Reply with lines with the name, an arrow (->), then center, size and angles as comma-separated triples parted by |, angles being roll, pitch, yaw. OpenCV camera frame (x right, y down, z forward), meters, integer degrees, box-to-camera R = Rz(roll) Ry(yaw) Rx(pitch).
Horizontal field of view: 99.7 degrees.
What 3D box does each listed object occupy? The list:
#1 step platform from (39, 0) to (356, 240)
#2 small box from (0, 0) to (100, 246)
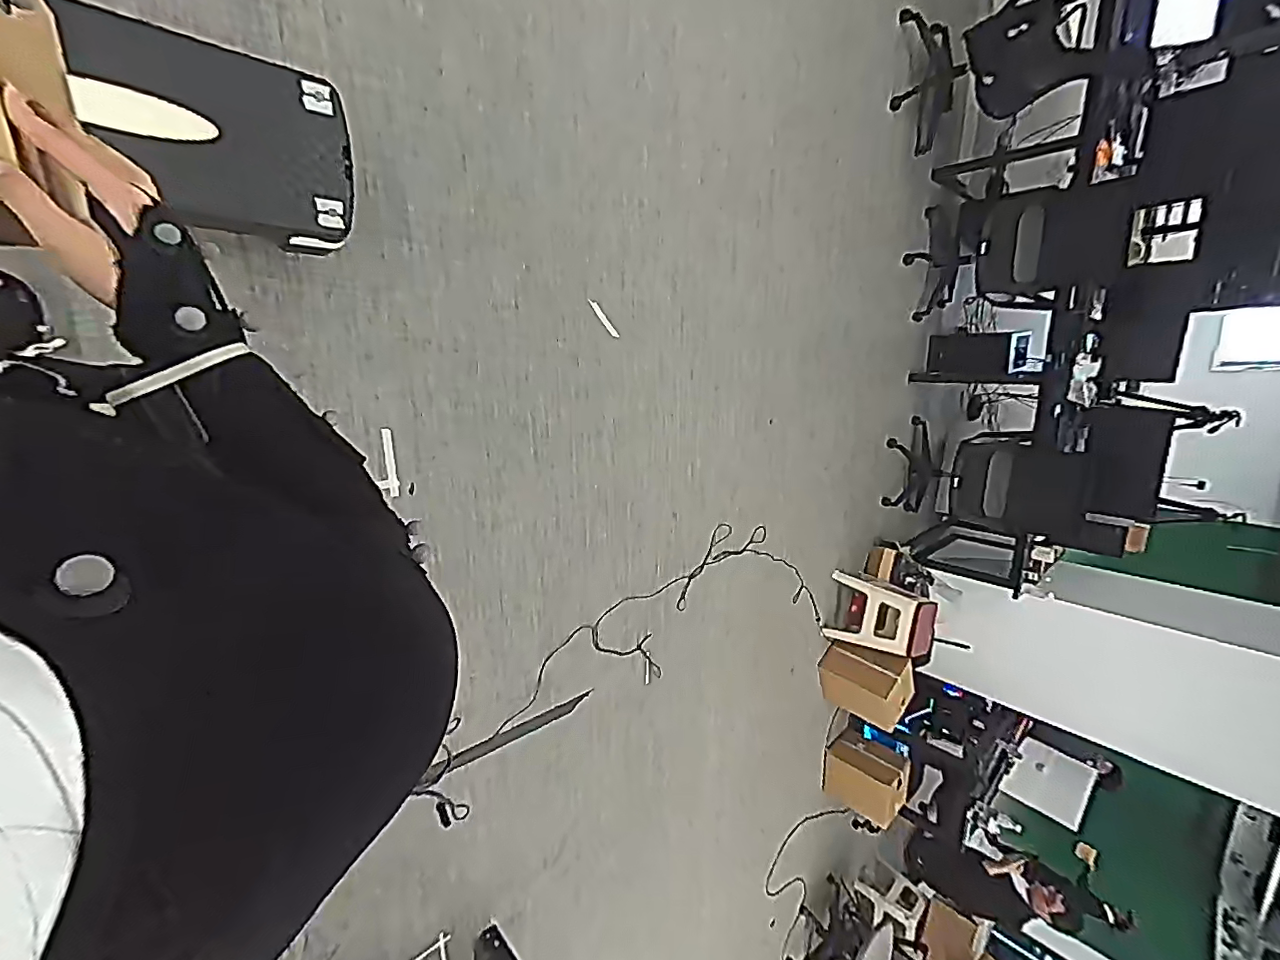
step platform -> -0.848, -0.605, 0.878 | 0.684, 0.204, 0.286 | -10, 105, -41
small box -> -0.474, -0.255, 0.325 | 0.168, 0.176, 0.179 | -9, 106, -31
